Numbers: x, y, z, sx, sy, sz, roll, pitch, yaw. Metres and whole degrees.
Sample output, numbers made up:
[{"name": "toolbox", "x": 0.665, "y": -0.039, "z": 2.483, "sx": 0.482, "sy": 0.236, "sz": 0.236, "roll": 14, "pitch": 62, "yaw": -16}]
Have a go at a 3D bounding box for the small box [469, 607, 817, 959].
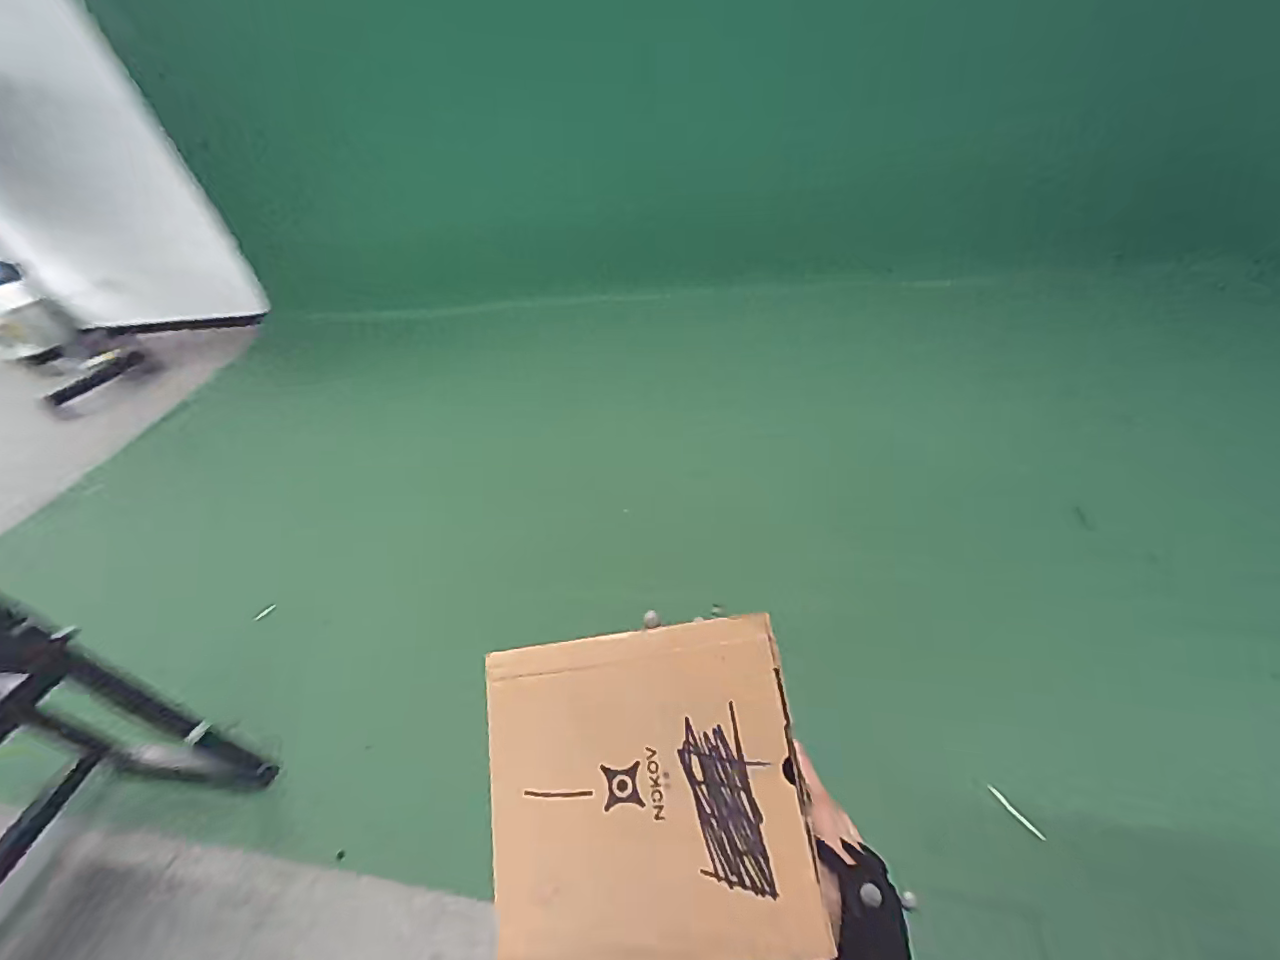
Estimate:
[{"name": "small box", "x": 0.006, "y": 0.186, "z": 0.367, "sx": 0.179, "sy": 0.176, "sz": 0.168, "roll": -12, "pitch": 69, "yaw": 9}]
